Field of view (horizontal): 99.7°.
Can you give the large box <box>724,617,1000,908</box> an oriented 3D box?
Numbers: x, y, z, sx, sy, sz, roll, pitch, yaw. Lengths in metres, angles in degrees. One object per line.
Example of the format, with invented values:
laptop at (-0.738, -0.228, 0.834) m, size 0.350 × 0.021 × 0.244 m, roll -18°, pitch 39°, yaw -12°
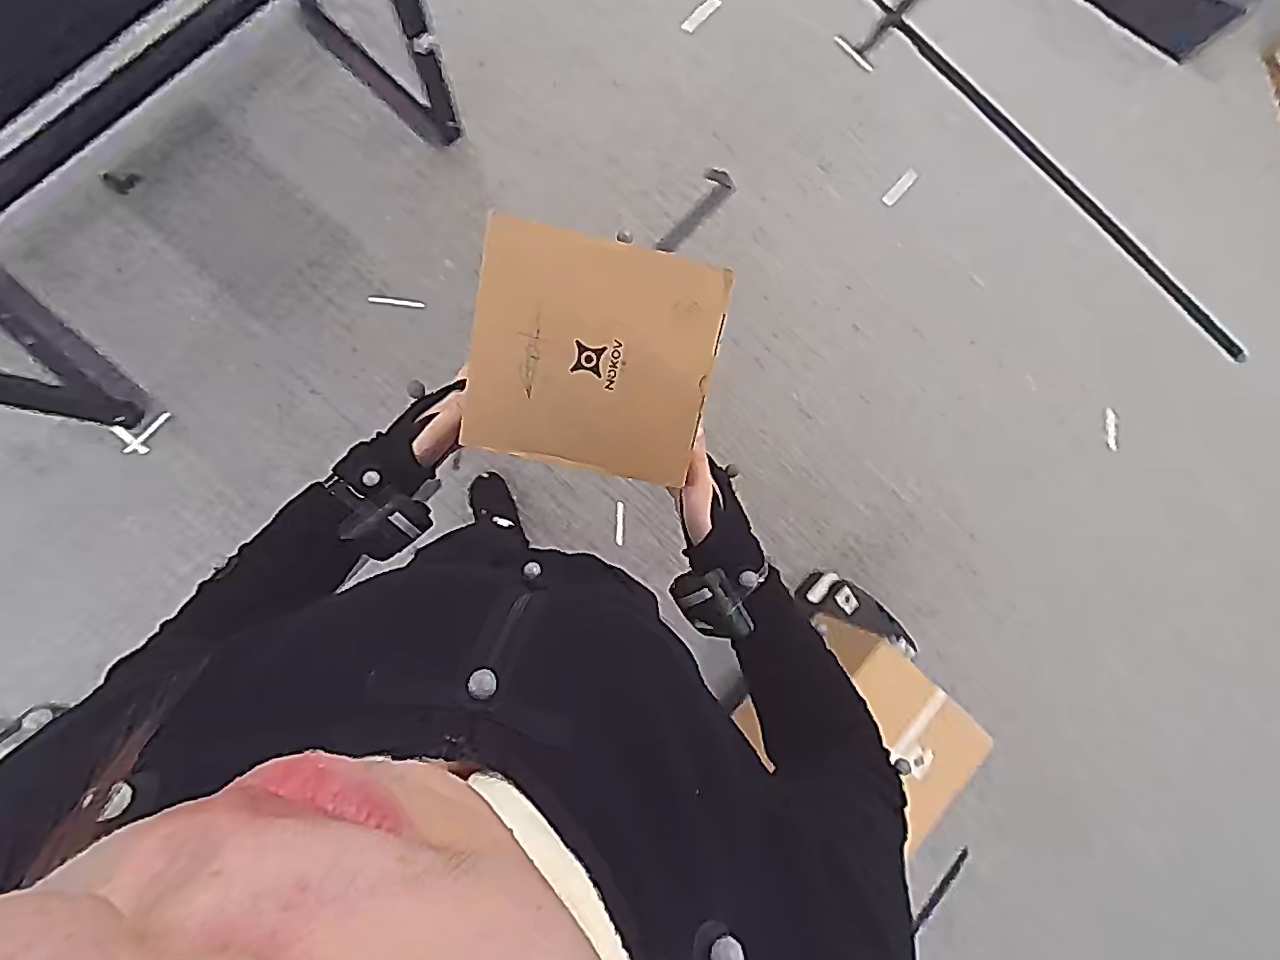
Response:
large box at (0.452, 0.571, 1.180) m, size 0.320 × 0.320 × 0.408 m, roll 43°, pitch 82°, yaw -2°
